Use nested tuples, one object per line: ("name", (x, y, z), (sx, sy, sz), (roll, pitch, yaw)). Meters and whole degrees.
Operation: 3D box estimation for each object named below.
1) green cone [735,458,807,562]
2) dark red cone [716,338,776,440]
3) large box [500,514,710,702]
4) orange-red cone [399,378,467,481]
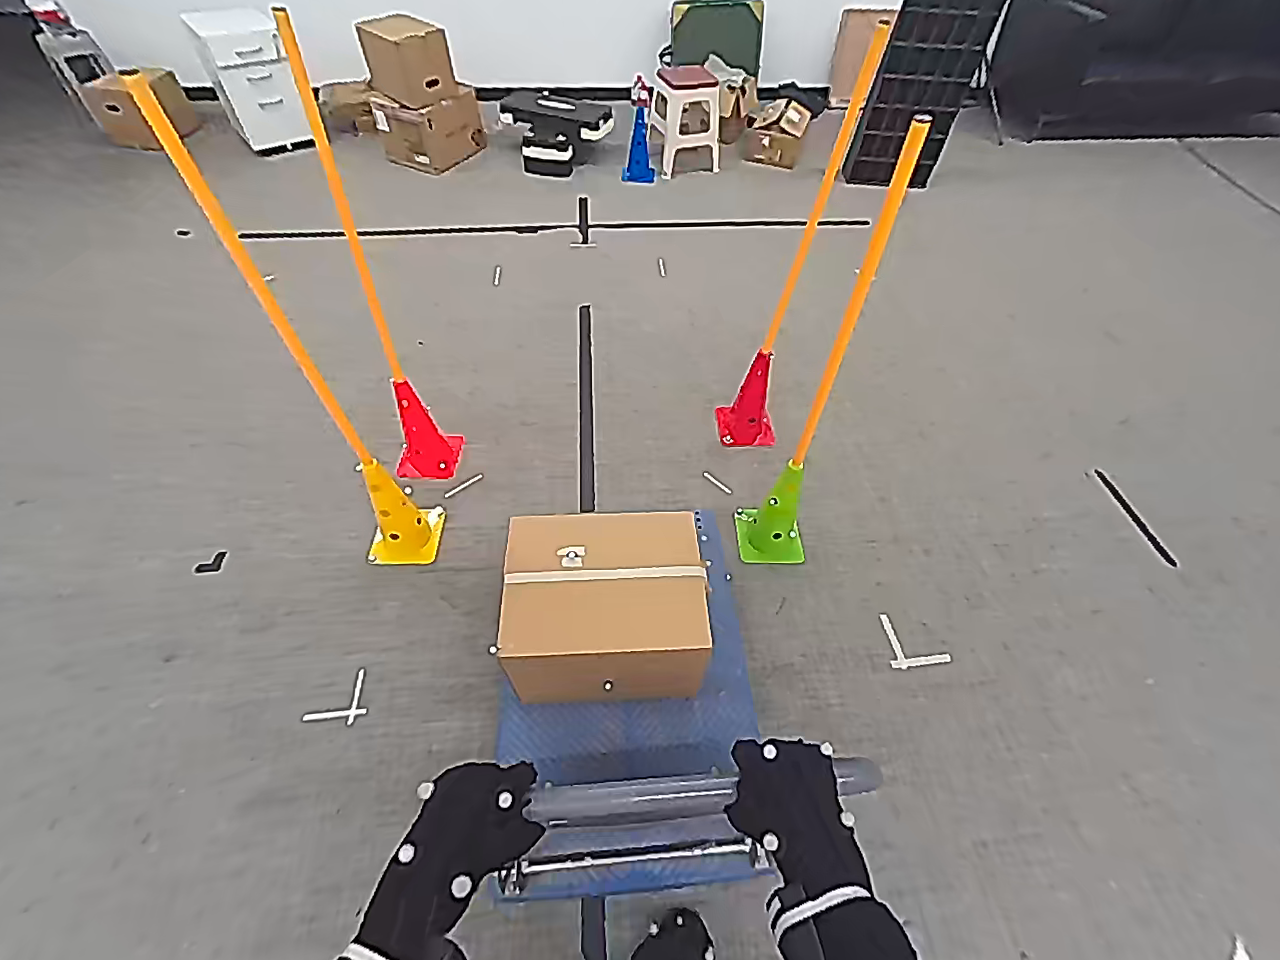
("green cone", (0.419, 0.070, 1.597), (0.202, 0.368, 0.200), (1, 52, -3))
("dark red cone", (0.401, -0.322, 1.883), (0.201, 0.394, 0.202), (-2, 52, -5))
("large box", (-0.074, 0.295, 1.221), (0.408, 0.320, 0.320), (-2, 52, -2))
("orange-red cone", (-0.719, -0.187, 1.768), (0.198, 0.360, 0.199), (4, 50, 0))
